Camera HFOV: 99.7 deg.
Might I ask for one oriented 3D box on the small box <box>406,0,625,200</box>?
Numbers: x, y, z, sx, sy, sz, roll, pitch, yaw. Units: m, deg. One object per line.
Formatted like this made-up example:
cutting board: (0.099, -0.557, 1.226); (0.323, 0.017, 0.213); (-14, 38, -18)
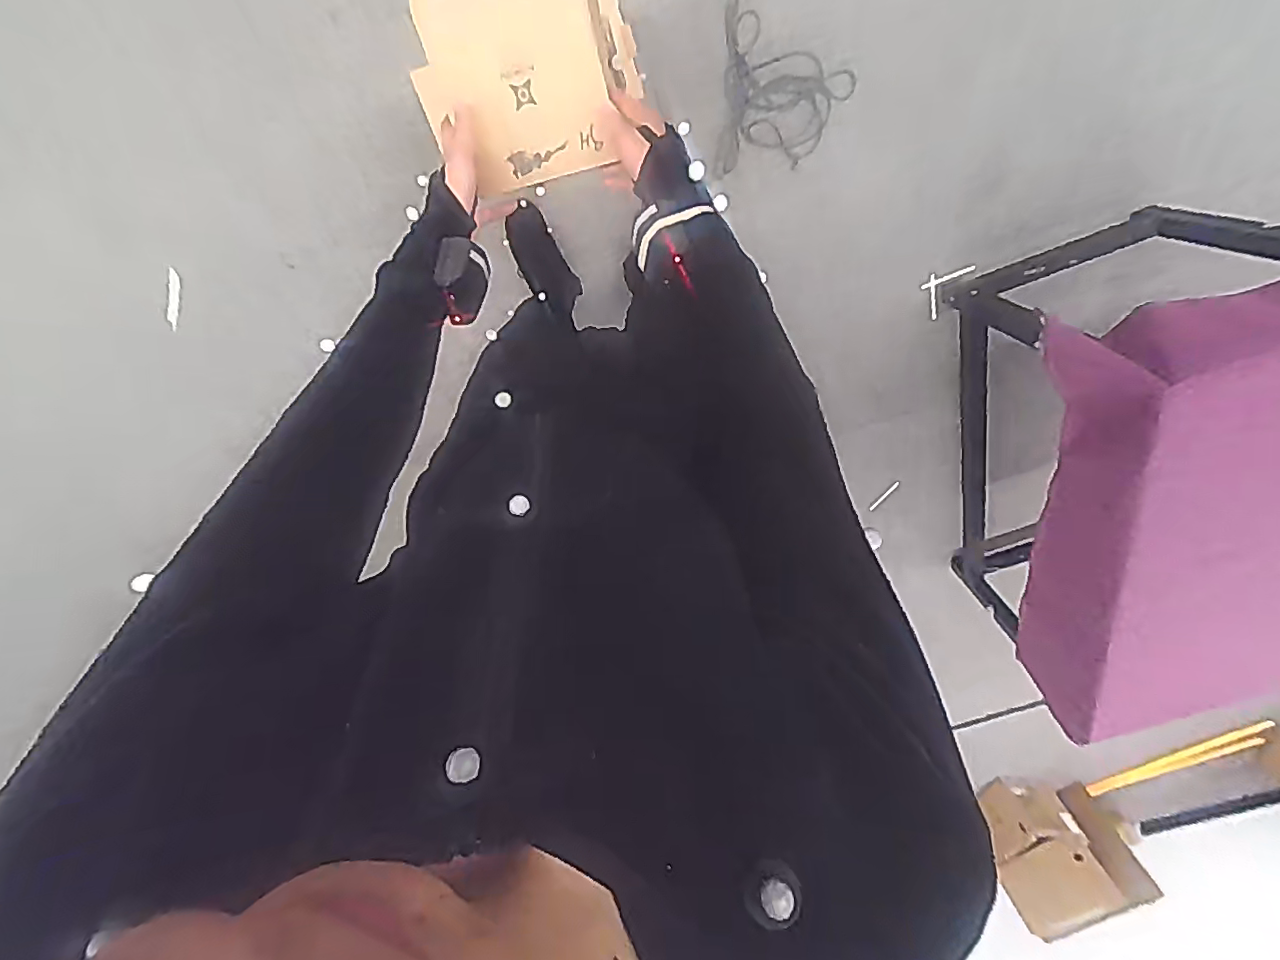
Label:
small box: (-0.118, -0.431, 0.595); (0.168, 0.176, 0.179); (-10, 124, 10)

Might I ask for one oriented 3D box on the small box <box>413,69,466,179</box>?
small box: (-0.288, -0.686, 1.012); (0.179, 0.176, 0.168); (-14, 124, 6)
